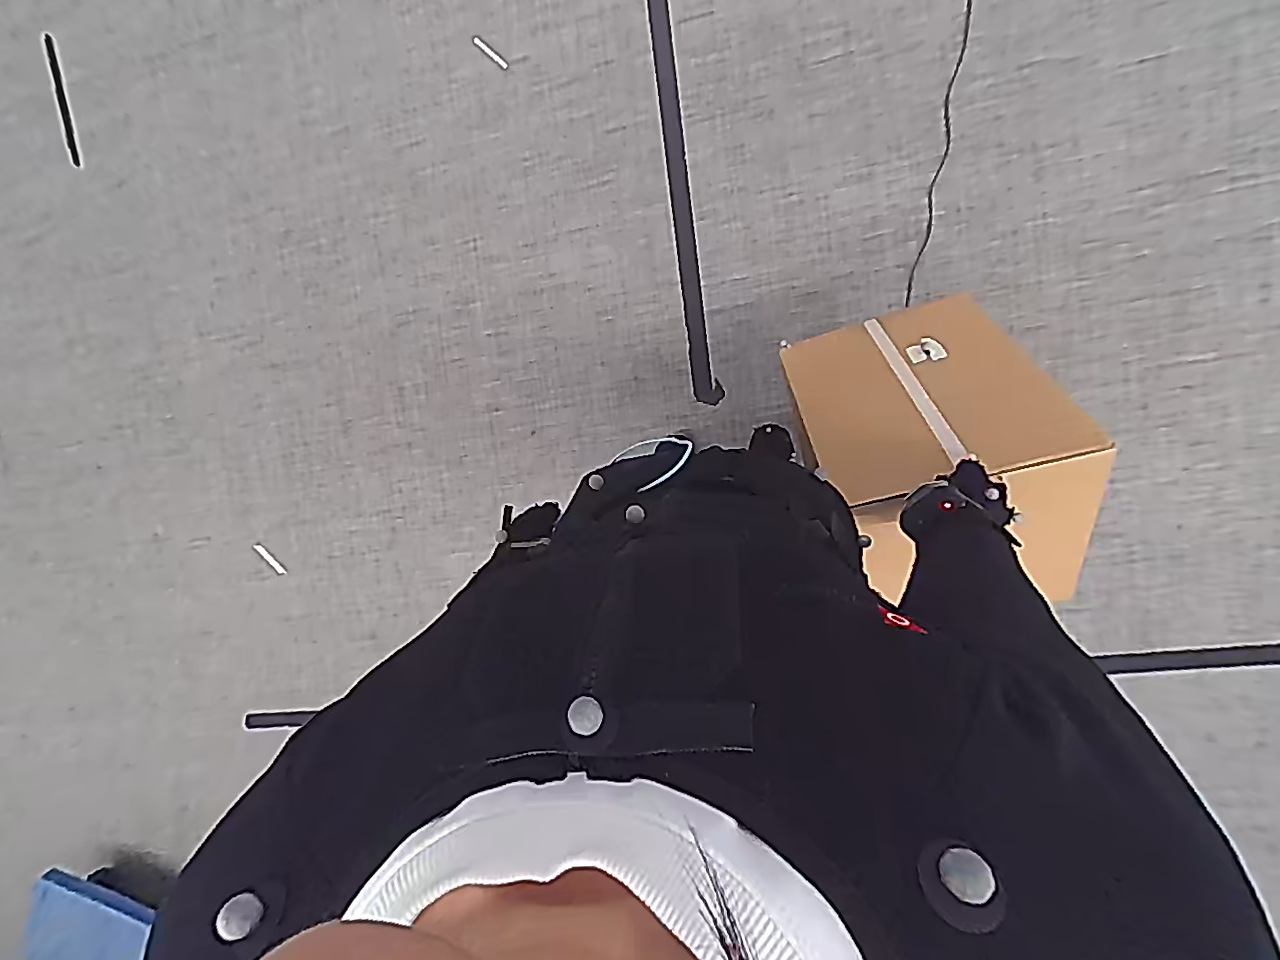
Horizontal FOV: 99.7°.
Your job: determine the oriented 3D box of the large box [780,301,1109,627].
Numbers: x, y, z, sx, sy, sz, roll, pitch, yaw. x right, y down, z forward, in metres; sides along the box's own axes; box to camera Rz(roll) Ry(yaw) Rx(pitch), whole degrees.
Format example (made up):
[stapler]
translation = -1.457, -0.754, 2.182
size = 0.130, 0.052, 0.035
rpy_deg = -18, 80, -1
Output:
[large box]
translation = 0.451, -0.030, 0.896
size = 0.320, 0.408, 0.320
rpy_deg = -14, 130, 12
